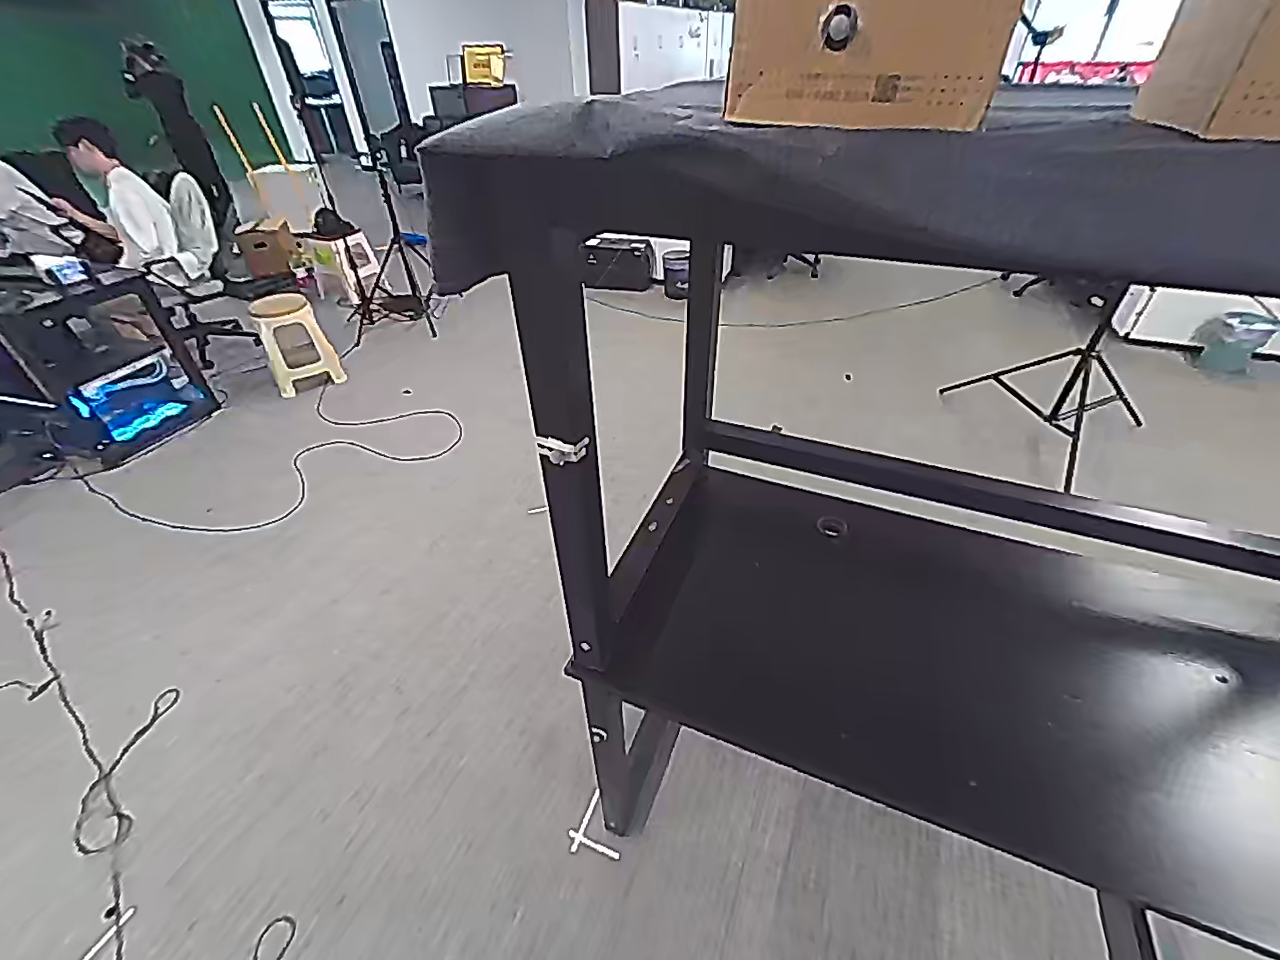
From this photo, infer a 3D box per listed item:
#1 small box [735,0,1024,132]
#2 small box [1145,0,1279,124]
[{"bbox_3d":[0.169,-0.349,0.367,0.168,0.176,0.179,15,40,17],"label":"small box"},{"bbox_3d":[0.421,-0.286,0.282,0.168,0.176,0.179,15,40,20],"label":"small box"}]
